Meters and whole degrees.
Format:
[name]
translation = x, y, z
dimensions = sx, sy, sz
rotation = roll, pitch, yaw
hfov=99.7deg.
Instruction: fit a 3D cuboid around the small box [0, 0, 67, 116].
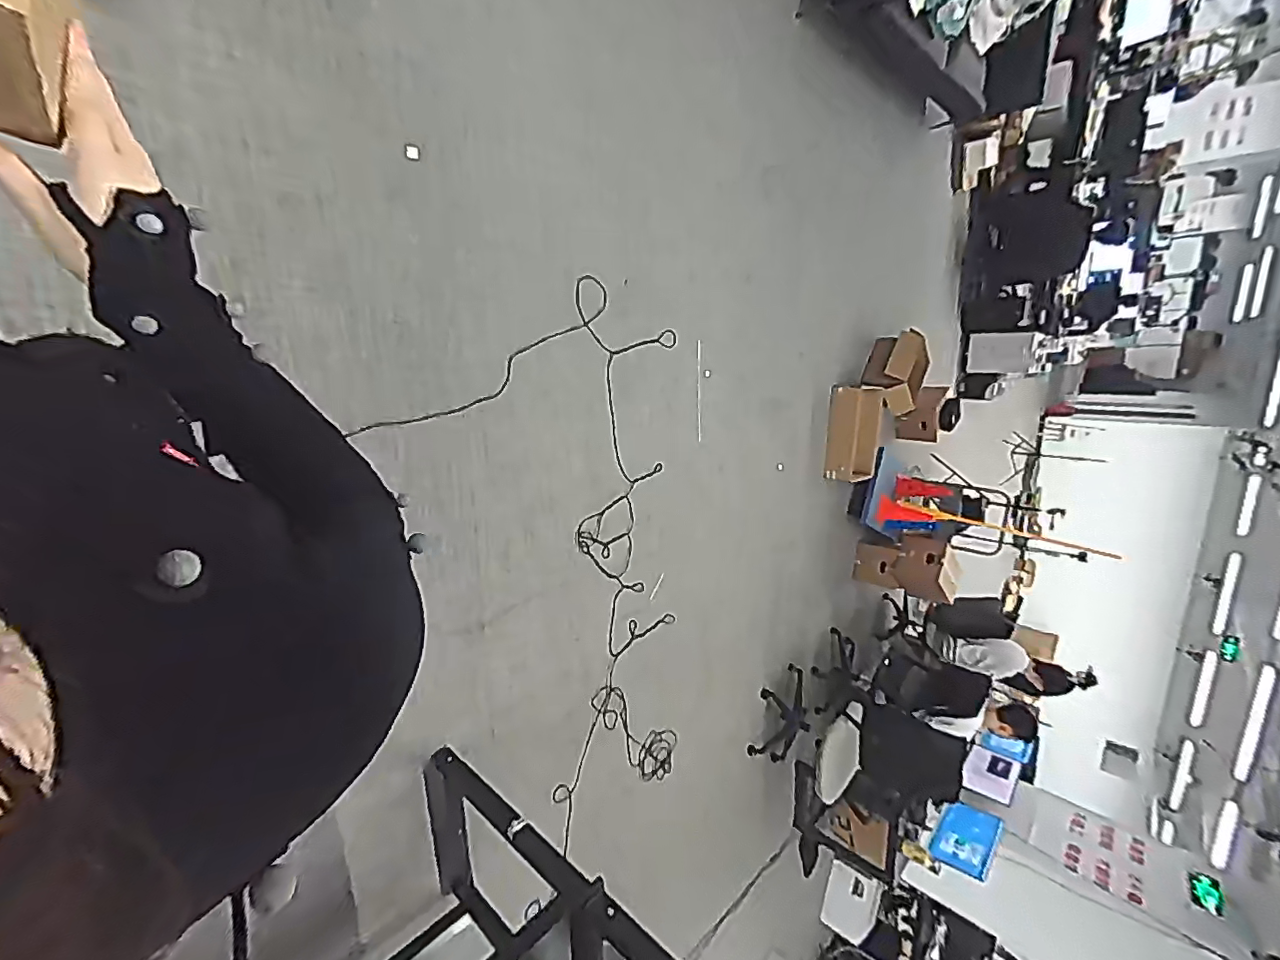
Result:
[small box]
translation = -0.360, -0.287, 0.212
dimensions = 0.179, 0.176, 0.168
rotation = 4, 94, -43
